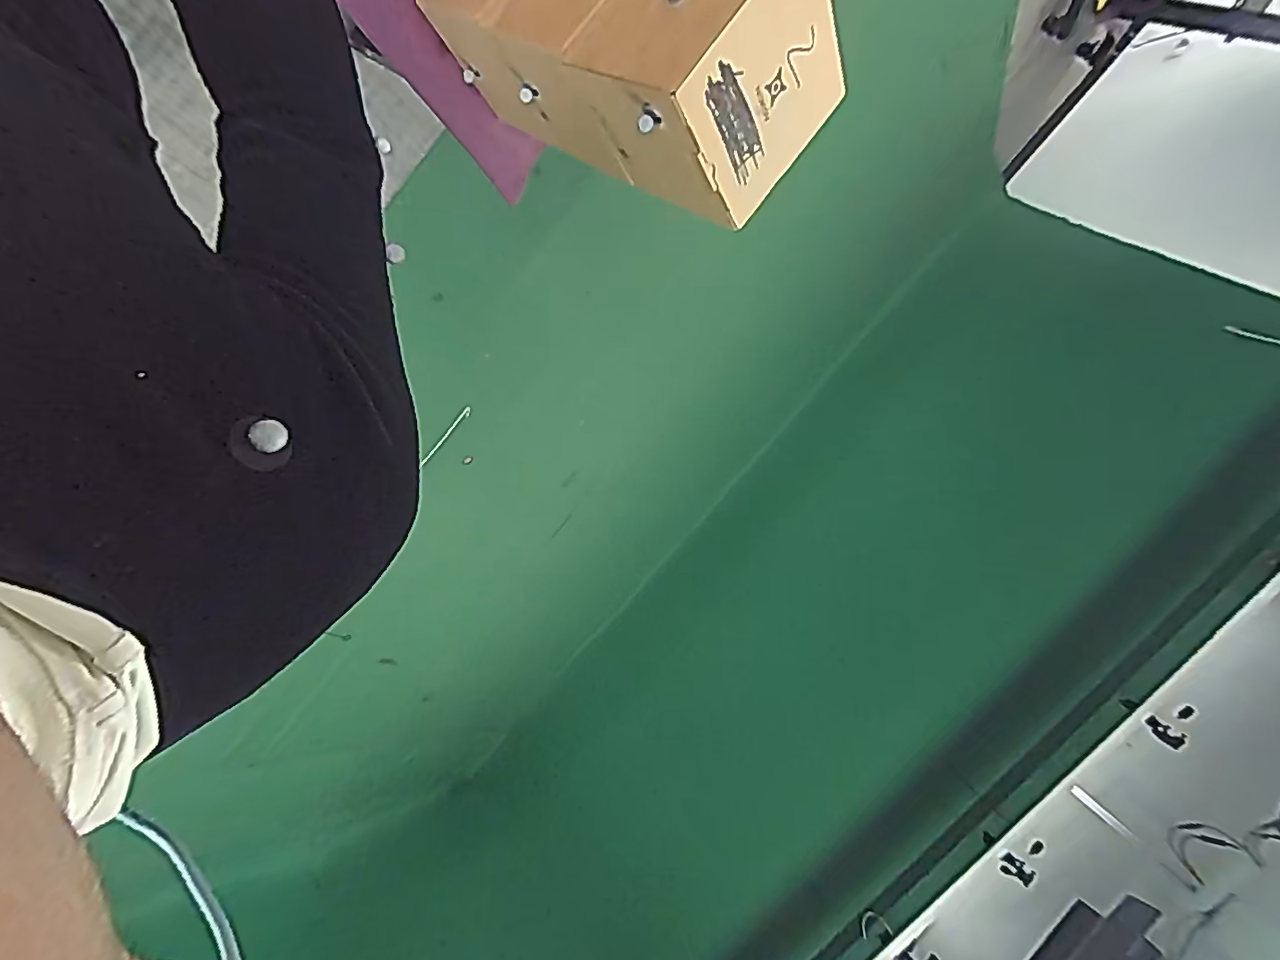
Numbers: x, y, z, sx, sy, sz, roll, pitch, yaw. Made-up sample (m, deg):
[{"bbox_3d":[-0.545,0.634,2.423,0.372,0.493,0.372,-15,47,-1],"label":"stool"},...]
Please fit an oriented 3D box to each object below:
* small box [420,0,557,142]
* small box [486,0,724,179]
[{"bbox_3d":[-0.145,-0.591,0.696,0.168,0.176,0.179,-49,151,3],"label":"small box"},{"bbox_3d":[-0.039,-0.496,0.617,0.179,0.176,0.168,-48,149,3],"label":"small box"}]
